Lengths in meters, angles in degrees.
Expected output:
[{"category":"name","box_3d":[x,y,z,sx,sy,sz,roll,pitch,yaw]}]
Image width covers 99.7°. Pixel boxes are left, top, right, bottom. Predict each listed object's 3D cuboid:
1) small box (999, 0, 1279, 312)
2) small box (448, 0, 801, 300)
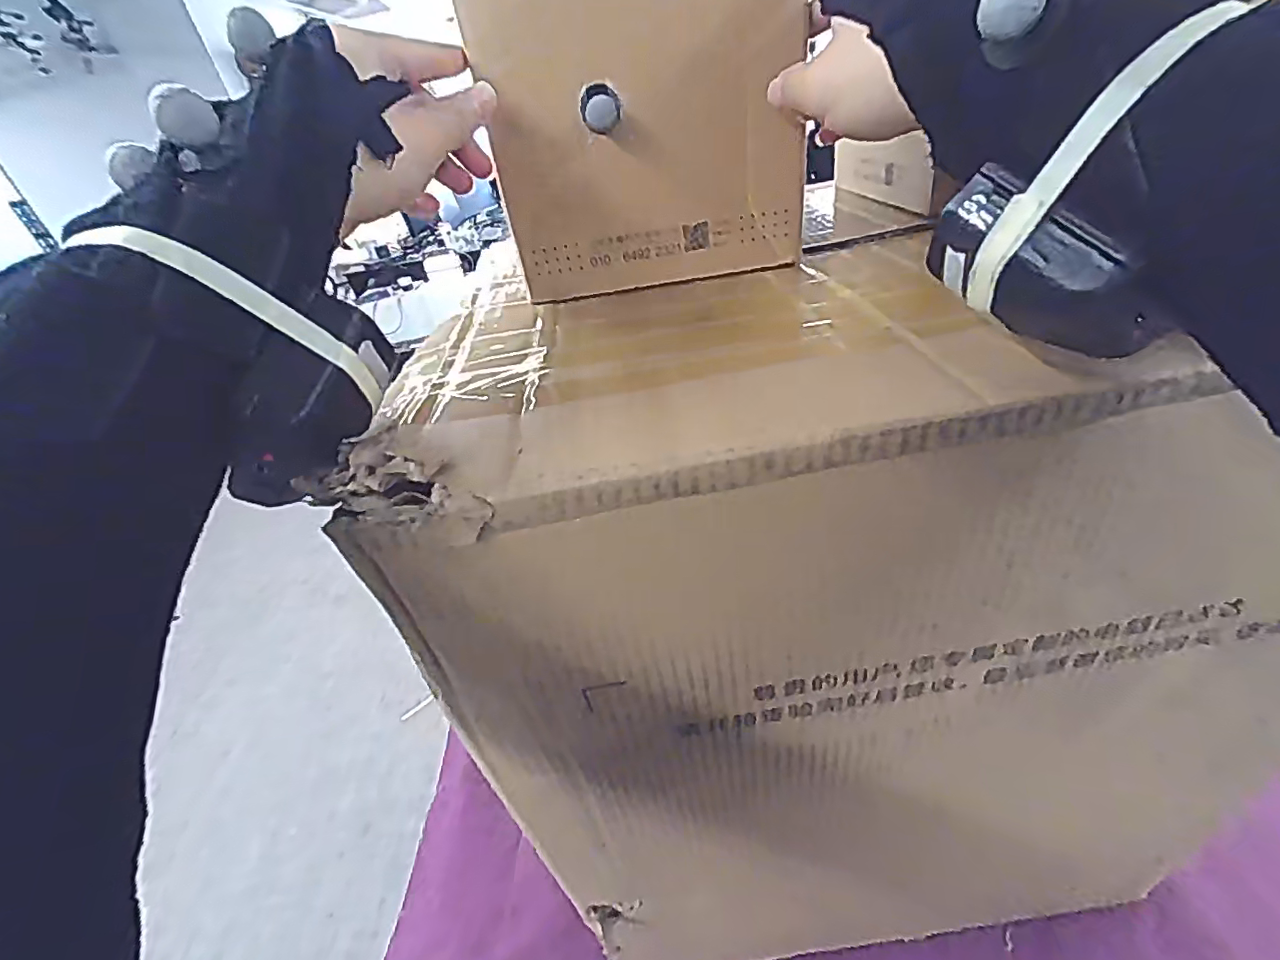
[{"category":"small box","box_3d":[0.269,-0.177,0.200,0.179,0.176,0.168,-12,35,1]},{"category":"small box","box_3d":[0.001,-0.225,0.345,0.168,0.176,0.179,-9,36,3]}]
